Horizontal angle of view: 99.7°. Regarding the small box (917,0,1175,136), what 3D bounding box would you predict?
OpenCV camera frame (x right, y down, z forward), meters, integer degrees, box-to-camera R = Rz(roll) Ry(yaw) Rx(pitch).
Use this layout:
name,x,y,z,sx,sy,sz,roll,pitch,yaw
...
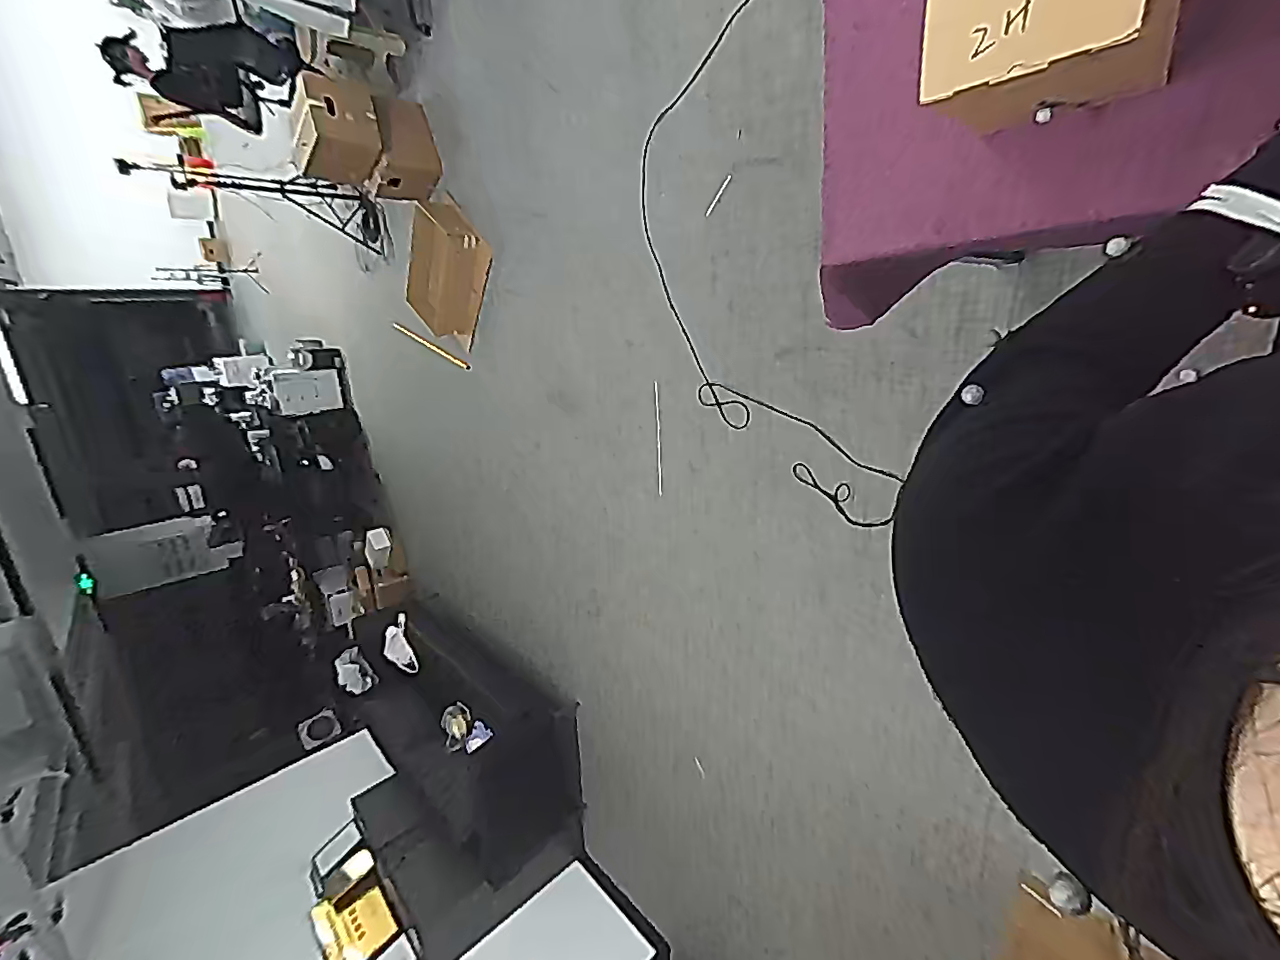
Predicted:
name,x,y,z,sx,sy,sz,roll,pitch,yaw
small box,0.386,-0.458,0.509,0.168,0.176,0.179,14,113,46
